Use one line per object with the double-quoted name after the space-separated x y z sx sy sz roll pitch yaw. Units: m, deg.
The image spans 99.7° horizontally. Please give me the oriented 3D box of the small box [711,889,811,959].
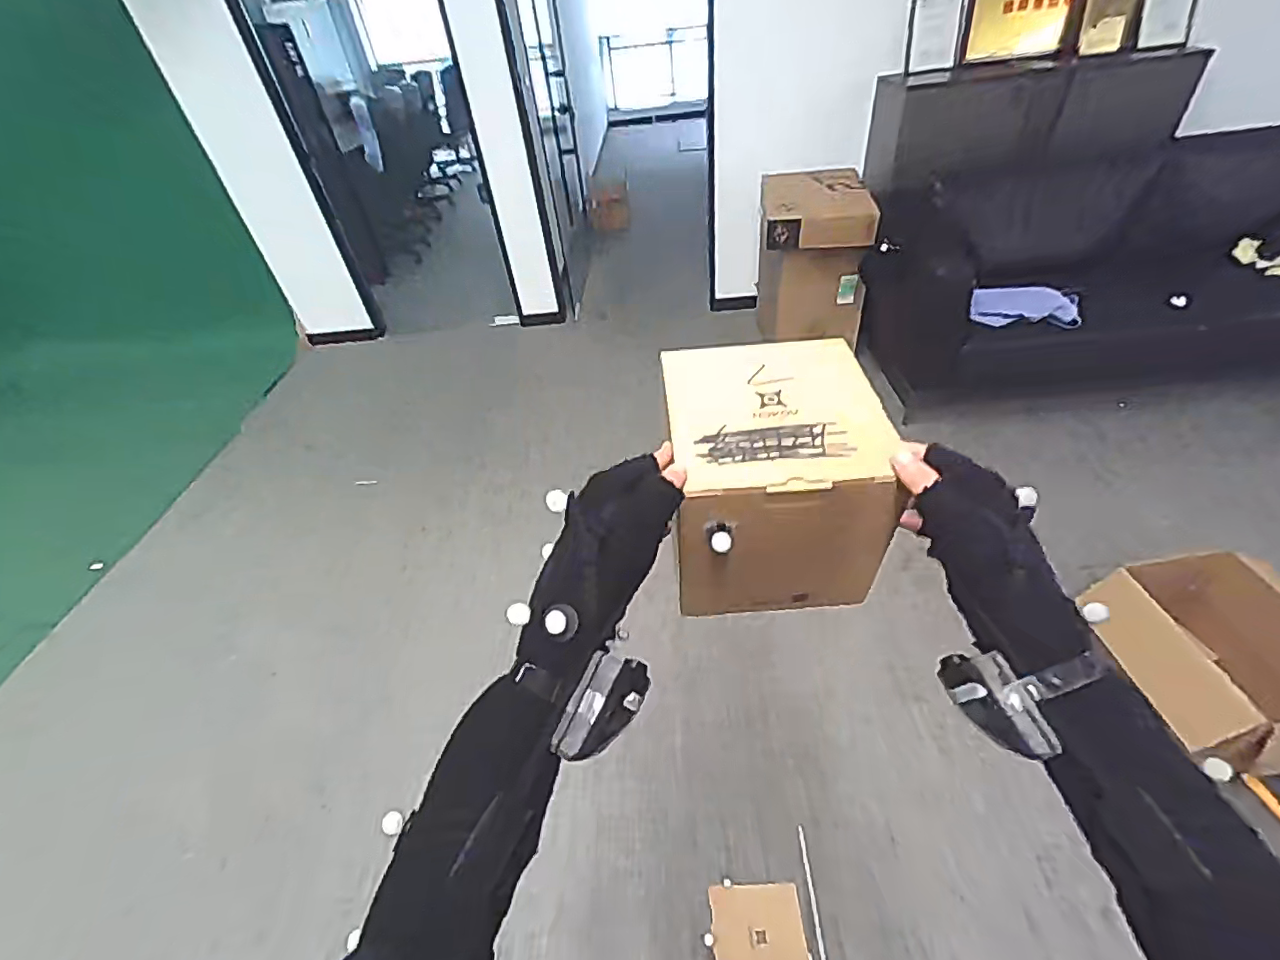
0.234 0.925 1.063 0.179 0.176 0.168 -5 41 4 "small box"
